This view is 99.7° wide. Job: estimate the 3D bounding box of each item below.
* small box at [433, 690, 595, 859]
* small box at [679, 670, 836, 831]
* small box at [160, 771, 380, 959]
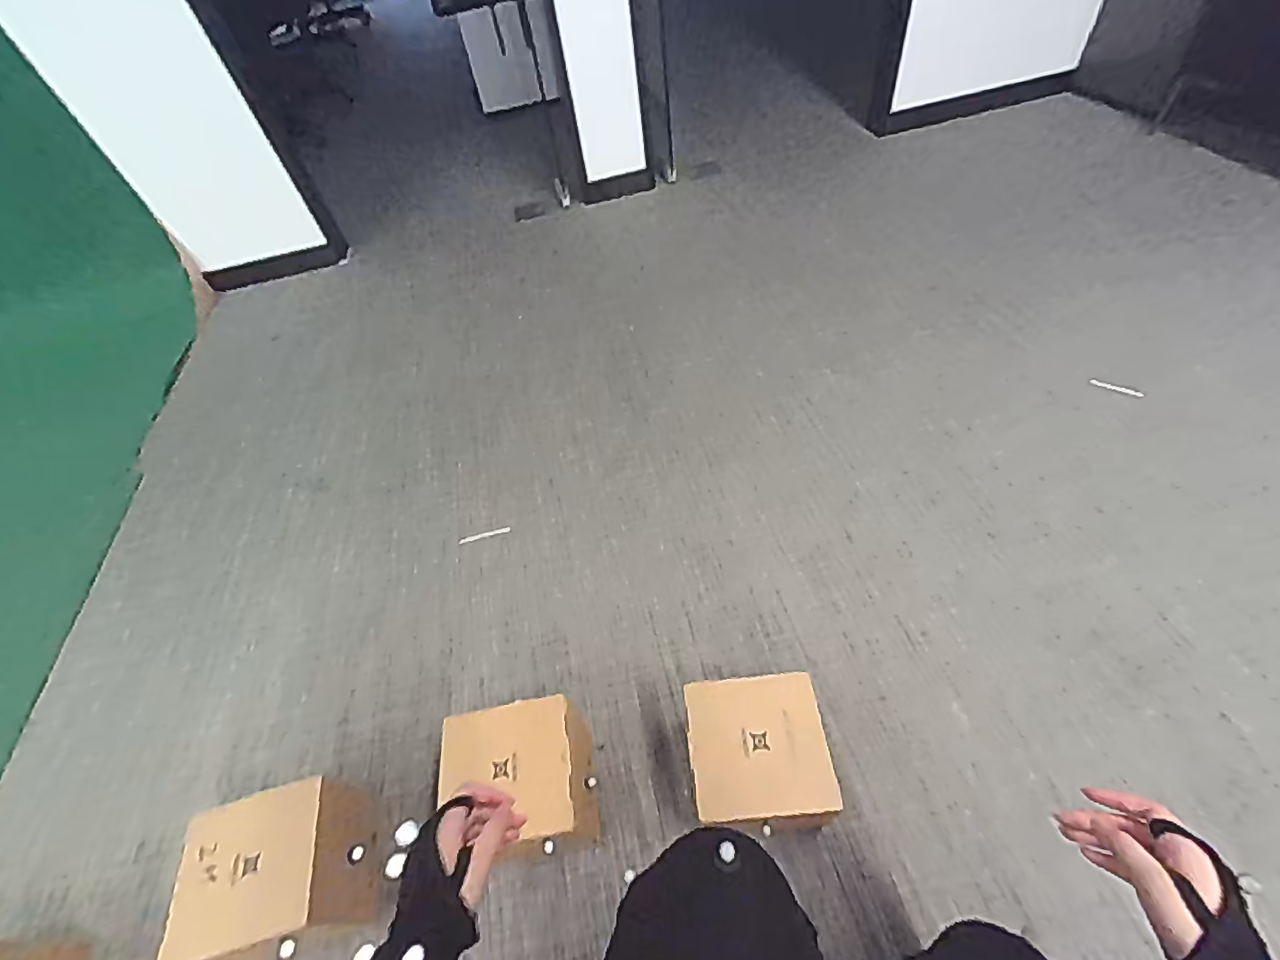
[{"bbox_3d":[-0.170,0.423,0.771,0.179,0.176,0.168,-11,50,-1],"label":"small box"},{"bbox_3d":[0.154,0.381,0.753,0.179,0.176,0.168,-6,52,3],"label":"small box"},{"bbox_3d":[-0.478,0.523,0.736,0.179,0.176,0.168,-16,50,-4],"label":"small box"}]
